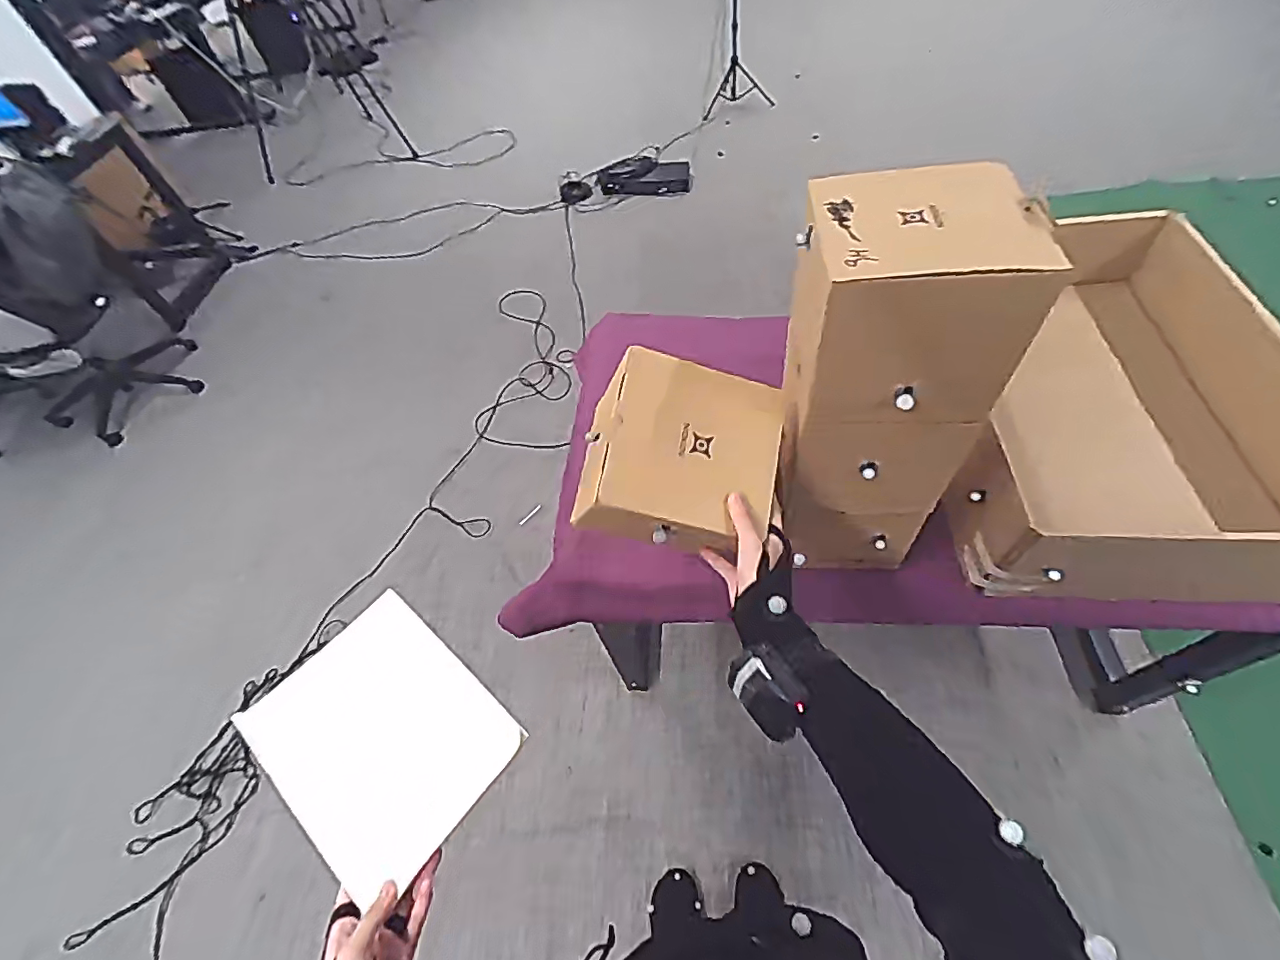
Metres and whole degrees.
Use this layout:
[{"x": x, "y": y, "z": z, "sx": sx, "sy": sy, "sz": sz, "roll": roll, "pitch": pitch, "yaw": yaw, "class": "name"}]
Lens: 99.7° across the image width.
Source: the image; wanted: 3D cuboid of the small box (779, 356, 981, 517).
[{"x": 0.267, "y": -0.067, "z": 0.651, "sx": 0.179, "sy": 0.176, "sz": 0.168, "roll": 0, "pitch": 53, "yaw": 9, "class": "small box"}]

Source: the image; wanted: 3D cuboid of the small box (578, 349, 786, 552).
[{"x": 0.038, "y": -0.018, "z": 0.614, "sx": 0.179, "sy": 0.176, "sz": 0.168, "roll": 15, "pitch": 75, "yaw": -8, "class": "small box"}]

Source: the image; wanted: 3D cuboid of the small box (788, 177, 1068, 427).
[{"x": 0.247, "y": -0.164, "z": 0.520, "sx": 0.179, "sy": 0.176, "sz": 0.168, "roll": 0, "pitch": 52, "yaw": 8, "class": "small box"}]
